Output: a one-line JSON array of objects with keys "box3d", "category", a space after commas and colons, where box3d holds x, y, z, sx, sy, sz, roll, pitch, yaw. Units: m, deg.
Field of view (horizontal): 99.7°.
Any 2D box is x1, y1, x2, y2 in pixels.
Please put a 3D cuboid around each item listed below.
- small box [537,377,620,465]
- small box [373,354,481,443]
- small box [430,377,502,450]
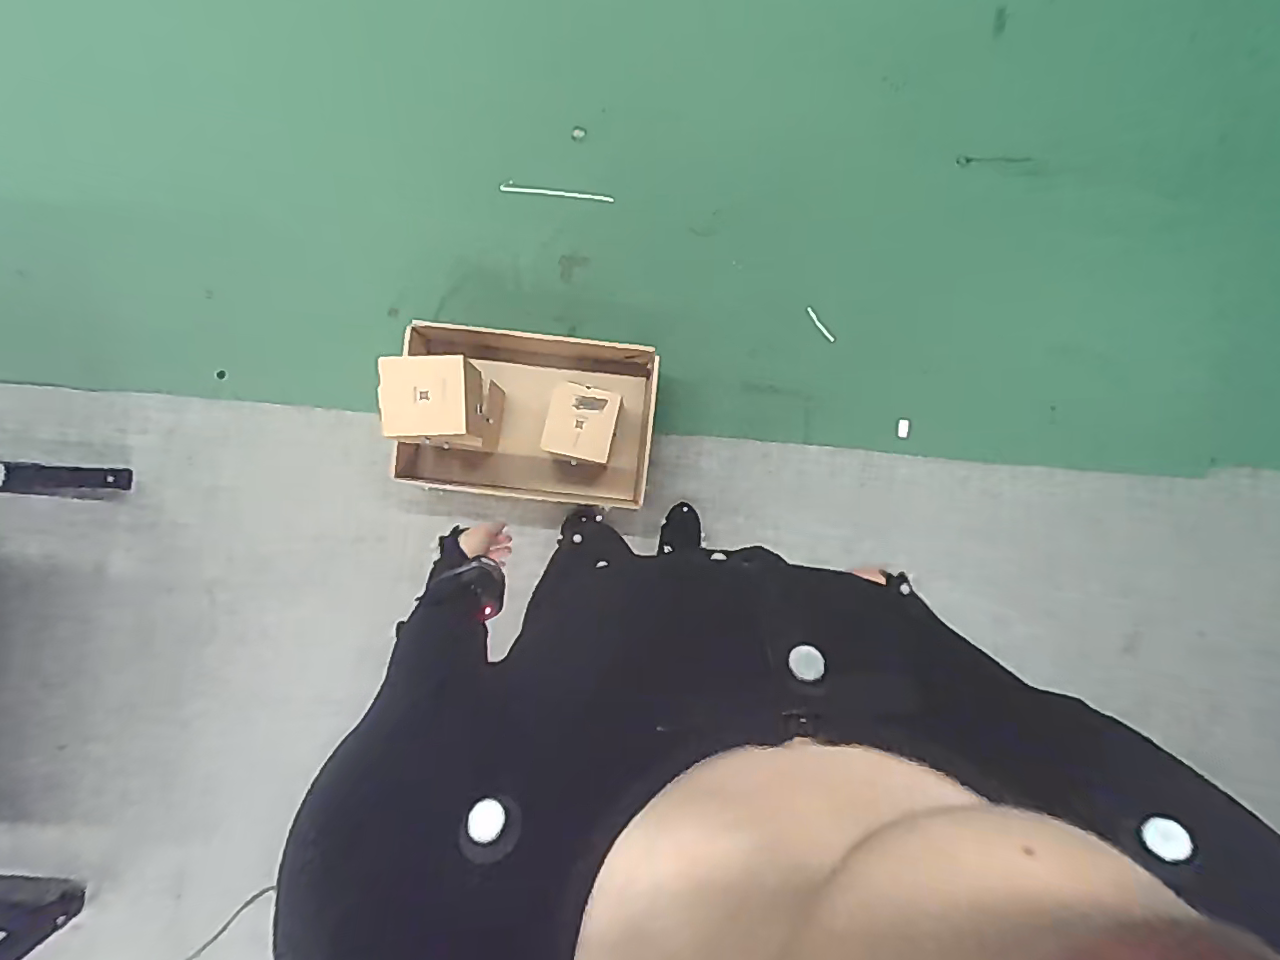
[{"box3d": [-0.148, -0.140, 1.350, 0.168, 0.176, 0.179, 13, 90, -1], "category": "small box"}, {"box3d": [-0.454, -0.171, 1.172, 0.179, 0.176, 0.168, -3, 91, -5], "category": "small box"}, {"box3d": [-0.457, -0.168, 1.337, 0.179, 0.176, 0.168, 7, 90, -2], "category": "small box"}]
